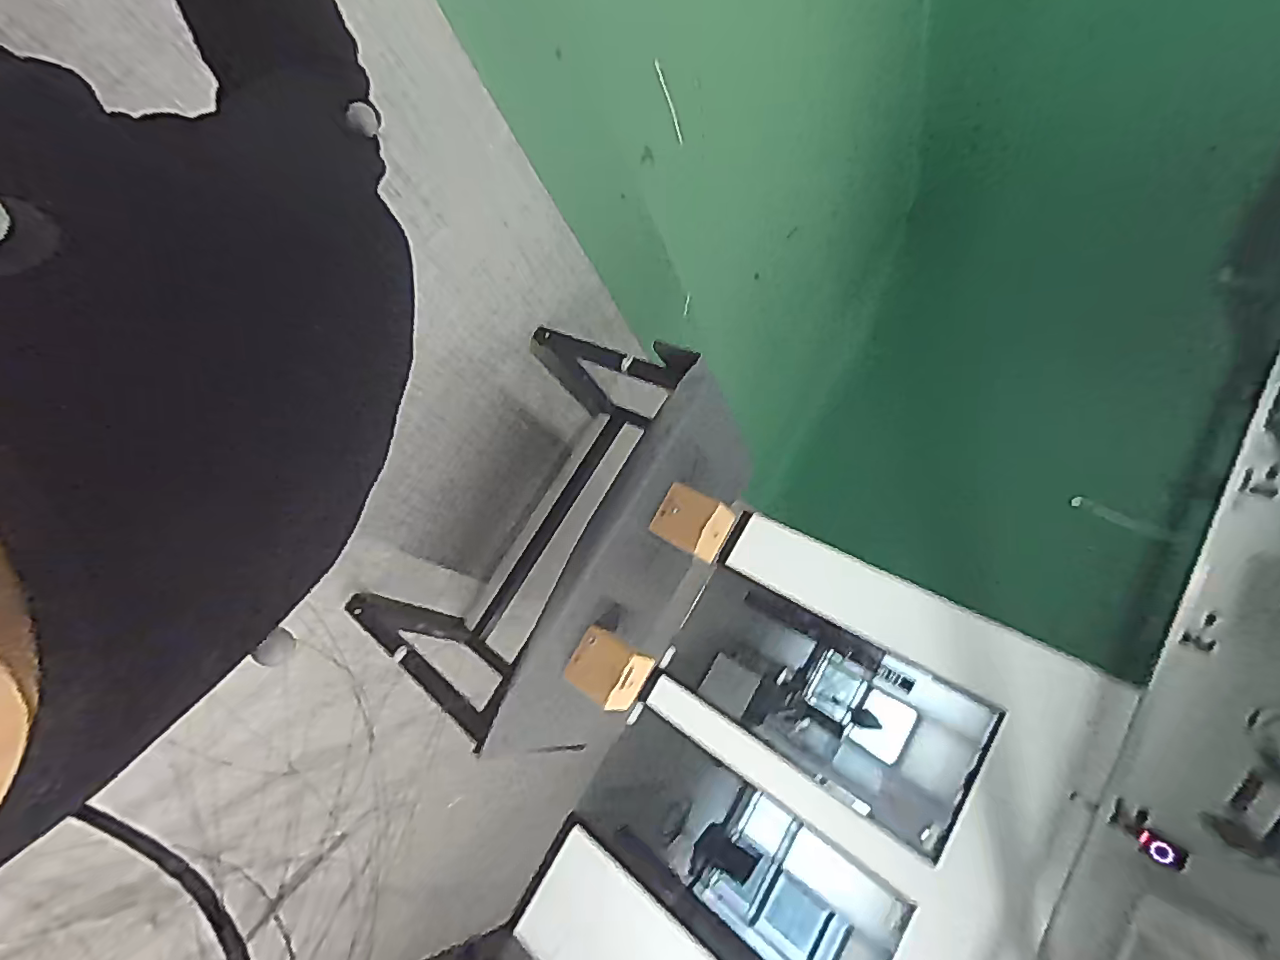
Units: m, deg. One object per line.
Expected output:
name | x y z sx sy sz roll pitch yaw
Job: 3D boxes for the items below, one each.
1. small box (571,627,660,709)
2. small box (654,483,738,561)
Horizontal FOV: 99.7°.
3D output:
small box | -0.074 0.554 1.600 0.168 0.176 0.179 -59 149 -9
small box | 0.173 0.129 1.668 0.168 0.176 0.179 -62 149 -6
